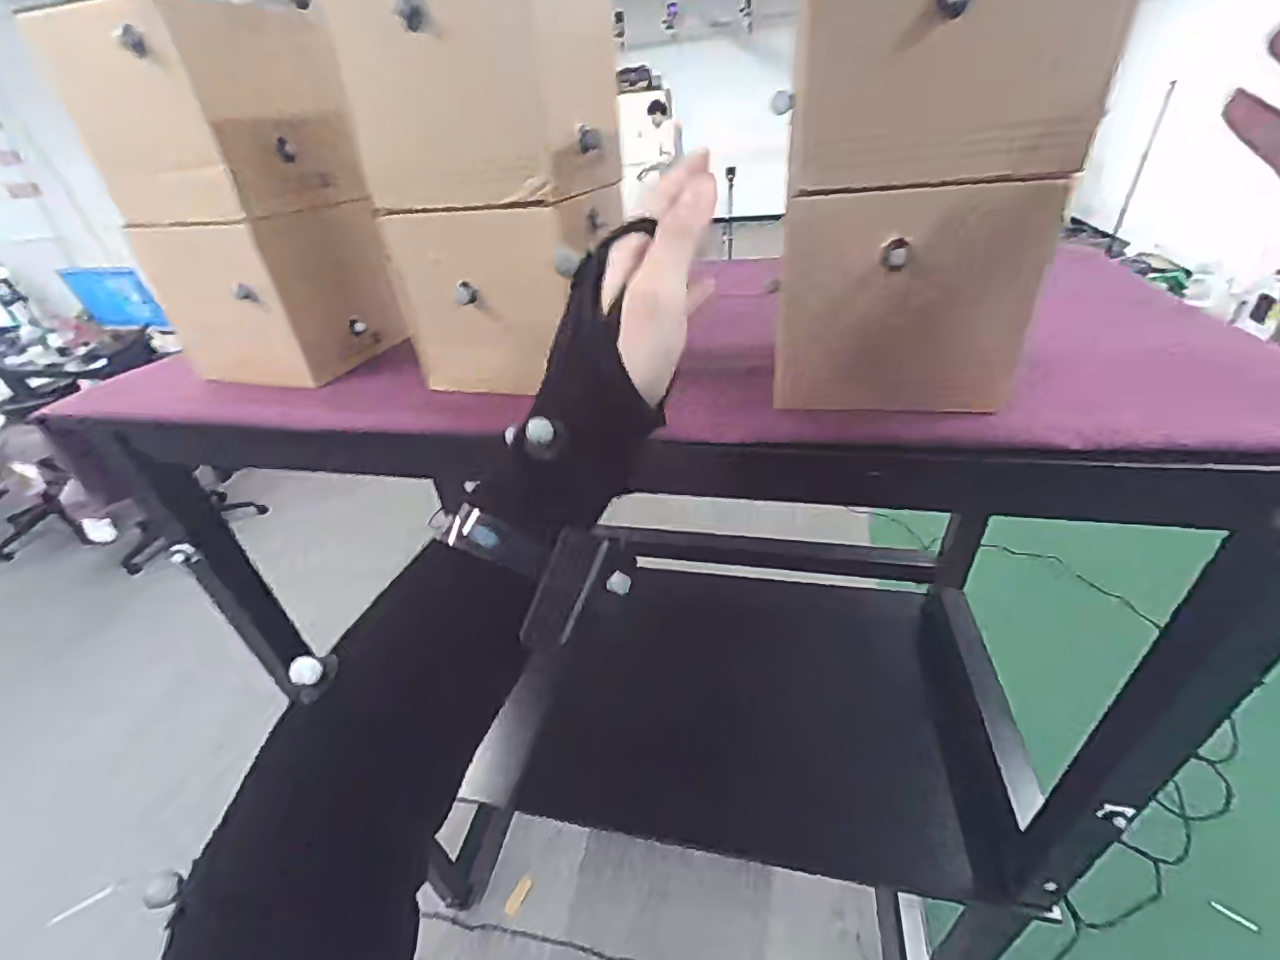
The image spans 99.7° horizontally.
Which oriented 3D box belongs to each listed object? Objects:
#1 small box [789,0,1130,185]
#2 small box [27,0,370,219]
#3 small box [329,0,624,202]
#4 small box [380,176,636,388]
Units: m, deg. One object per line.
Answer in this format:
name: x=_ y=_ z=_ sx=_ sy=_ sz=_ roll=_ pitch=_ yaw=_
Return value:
small box: x=0.196 y=-0.309 z=0.361 sx=0.179 sy=0.176 sz=0.168 roll=1 pitch=35 yaw=13
small box: x=-0.417 y=-0.366 z=0.543 sx=0.179 sy=0.176 sz=0.168 roll=7 pitch=35 yaw=16
small box: x=-0.125 y=-0.338 z=0.457 sx=0.179 sy=0.176 sz=0.168 roll=7 pitch=36 yaw=17
small box: x=-0.114 y=-0.201 z=0.547 sx=0.179 sy=0.176 sz=0.168 roll=5 pitch=35 yaw=17
